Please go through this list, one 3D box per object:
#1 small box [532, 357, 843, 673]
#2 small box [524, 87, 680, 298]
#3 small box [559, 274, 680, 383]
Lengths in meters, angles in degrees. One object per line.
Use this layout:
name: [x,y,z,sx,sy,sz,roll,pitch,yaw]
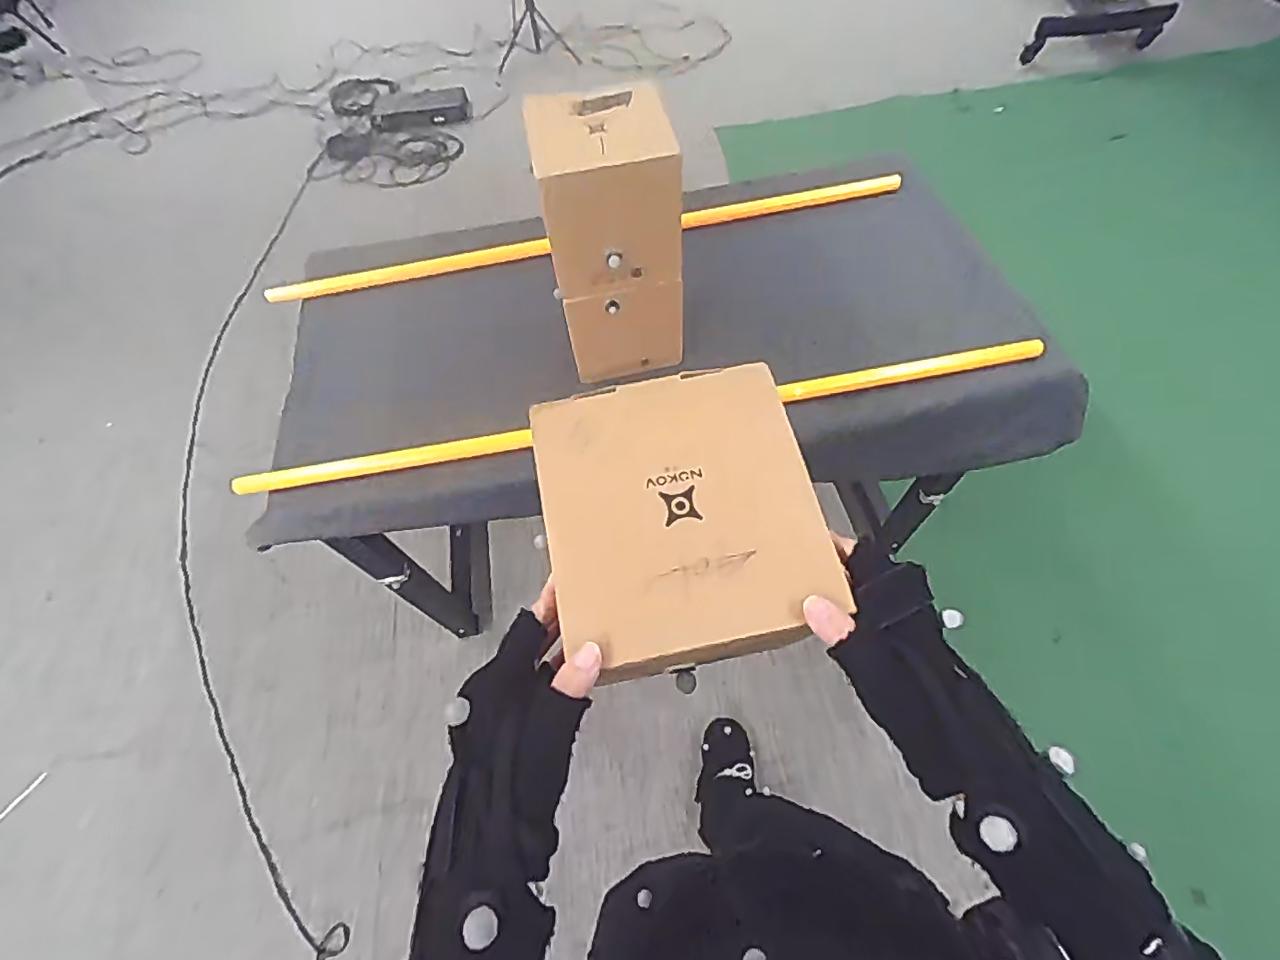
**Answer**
small box: [0.022,0.037,0.410,0.168,0.176,0.179,-11,67,-3]
small box: [-0.047,-0.368,0.703,0.168,0.176,0.179,-11,60,-2]
small box: [-0.037,-0.281,0.843,0.168,0.176,0.179,-13,59,-2]
